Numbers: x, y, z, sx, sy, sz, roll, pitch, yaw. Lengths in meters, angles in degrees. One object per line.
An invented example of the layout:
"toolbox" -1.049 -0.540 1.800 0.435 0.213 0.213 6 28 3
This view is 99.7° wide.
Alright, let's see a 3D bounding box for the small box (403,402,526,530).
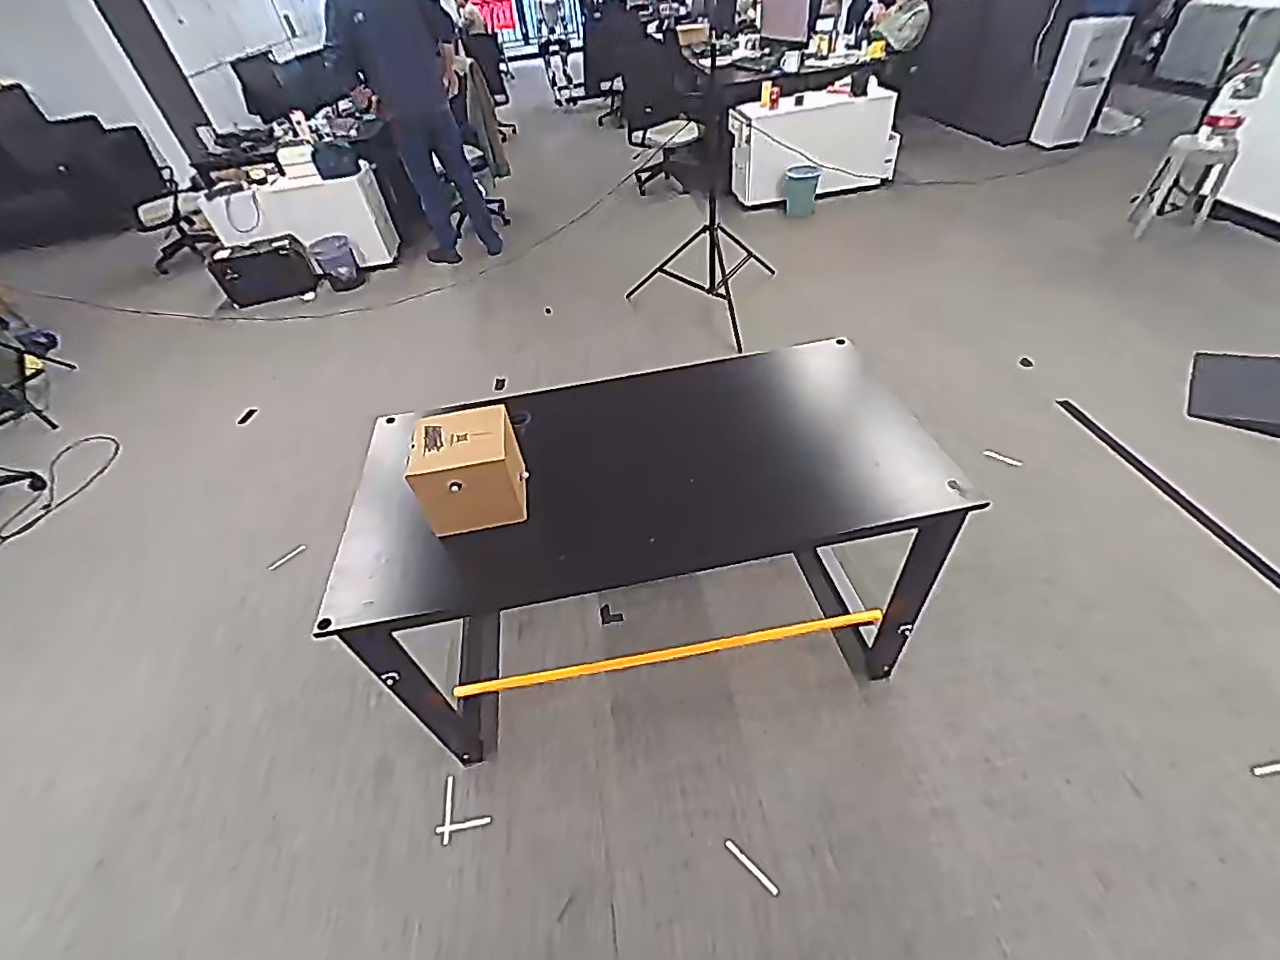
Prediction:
"small box" -0.328 -0.023 1.044 0.179 0.176 0.168 -10 45 -4
